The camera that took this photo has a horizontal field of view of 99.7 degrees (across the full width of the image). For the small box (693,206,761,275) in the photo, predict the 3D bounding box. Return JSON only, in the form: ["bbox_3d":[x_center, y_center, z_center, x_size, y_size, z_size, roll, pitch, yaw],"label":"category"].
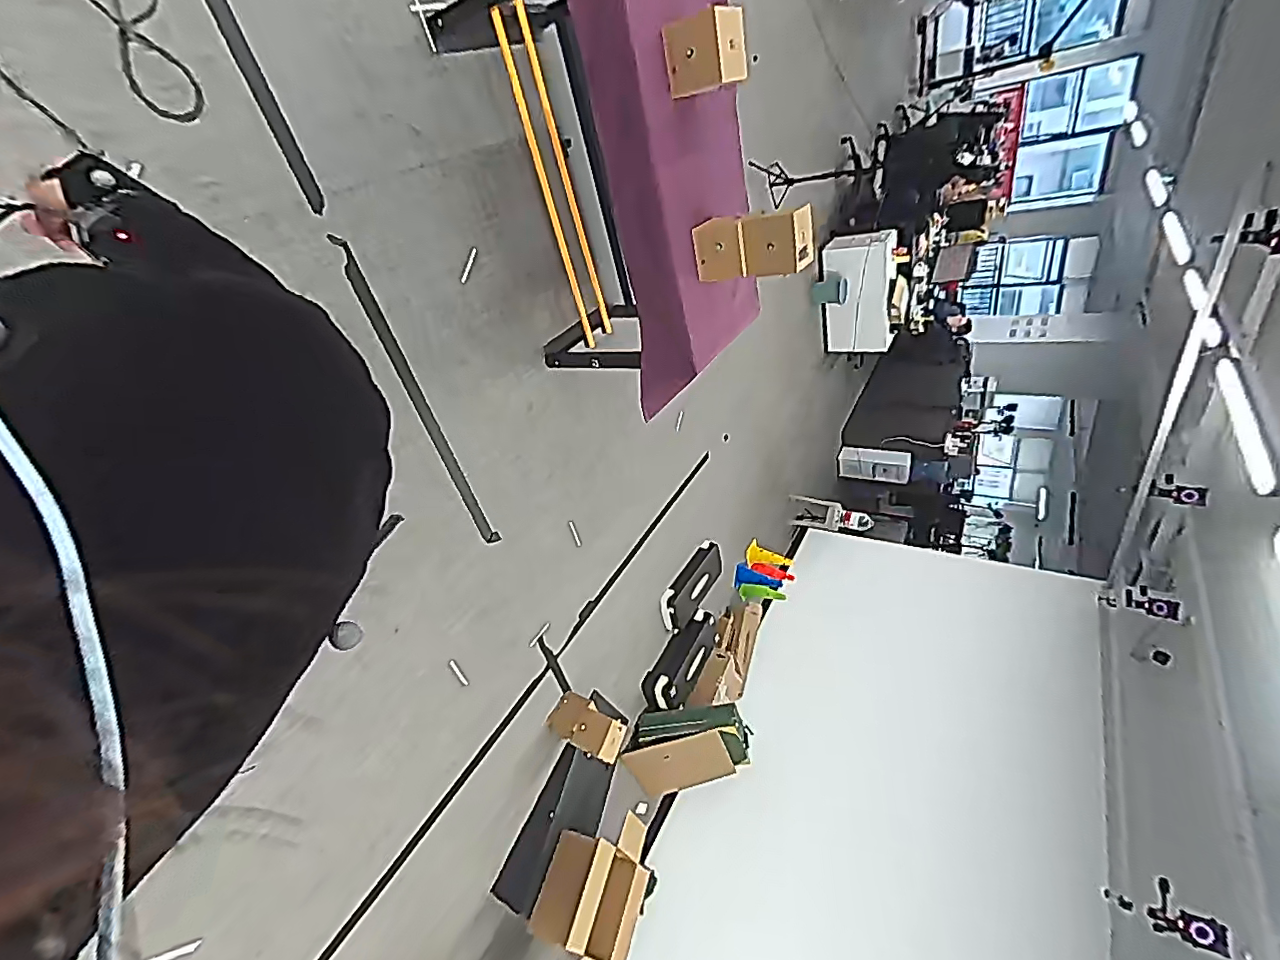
[{"bbox_3d":[0.284,-0.792,1.798,0.179,0.176,0.168,-47,134,-41],"label":"small box"}]

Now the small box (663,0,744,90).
[{"bbox_3d":[0.176,-1.223,1.526,0.179,0.176,0.168,-47,134,-41],"label":"small box"}]
